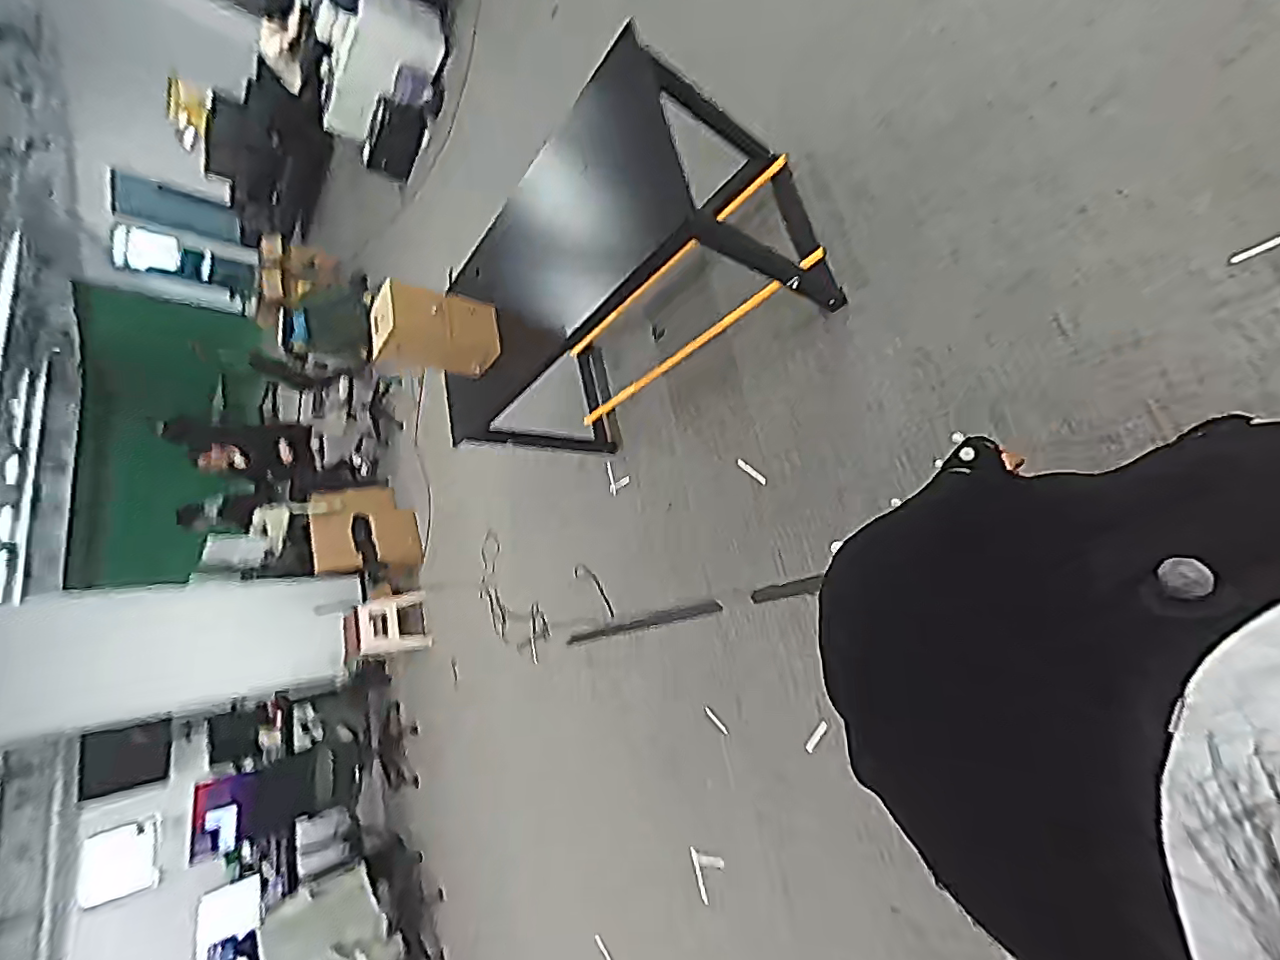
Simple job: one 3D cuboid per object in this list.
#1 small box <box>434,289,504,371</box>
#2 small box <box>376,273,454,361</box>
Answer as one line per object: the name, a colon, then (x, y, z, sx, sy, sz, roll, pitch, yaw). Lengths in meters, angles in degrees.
small box: (-0.552, -0.471, 1.726, 0.168, 0.176, 0.179, -29, 67, 44)
small box: (-0.674, -0.477, 1.615, 0.179, 0.176, 0.168, -30, 66, 43)
